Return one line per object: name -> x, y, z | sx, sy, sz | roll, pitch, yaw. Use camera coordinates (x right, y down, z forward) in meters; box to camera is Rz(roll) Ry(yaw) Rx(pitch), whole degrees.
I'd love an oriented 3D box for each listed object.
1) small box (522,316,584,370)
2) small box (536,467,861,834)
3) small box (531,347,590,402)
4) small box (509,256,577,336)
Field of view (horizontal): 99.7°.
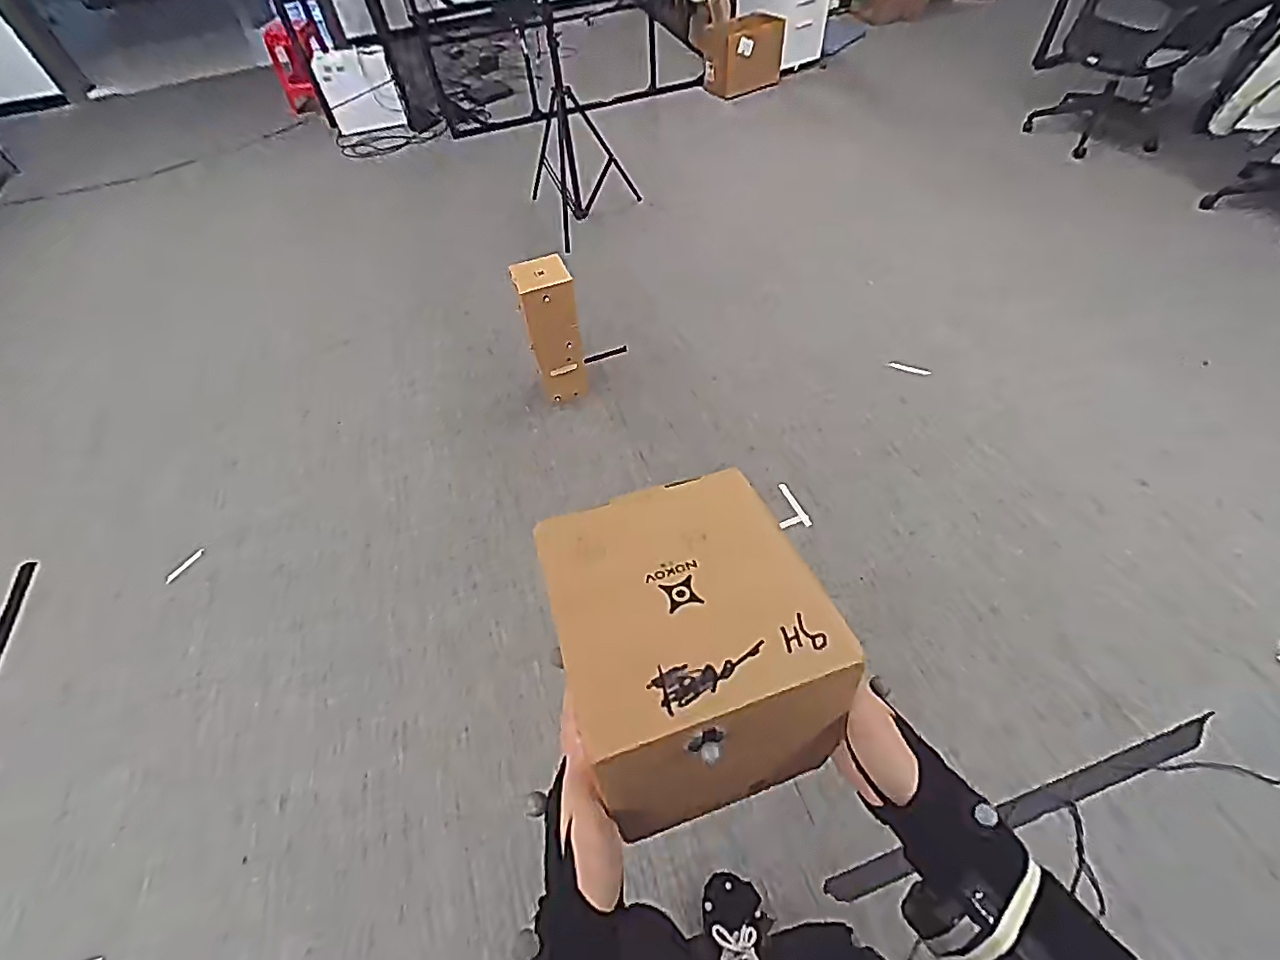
small box -> -0.309, -0.515, 1.936 | 0.168, 0.176, 0.179 | -20, 54, -10
small box -> 0.031, 0.123, 0.406 | 0.168, 0.176, 0.179 | -17, 44, -9
small box -> -0.299, -0.419, 2.067 | 0.168, 0.176, 0.179 | -20, 54, -9
small box -> -0.317, -0.612, 1.807 | 0.179, 0.176, 0.168 | -20, 56, -10
